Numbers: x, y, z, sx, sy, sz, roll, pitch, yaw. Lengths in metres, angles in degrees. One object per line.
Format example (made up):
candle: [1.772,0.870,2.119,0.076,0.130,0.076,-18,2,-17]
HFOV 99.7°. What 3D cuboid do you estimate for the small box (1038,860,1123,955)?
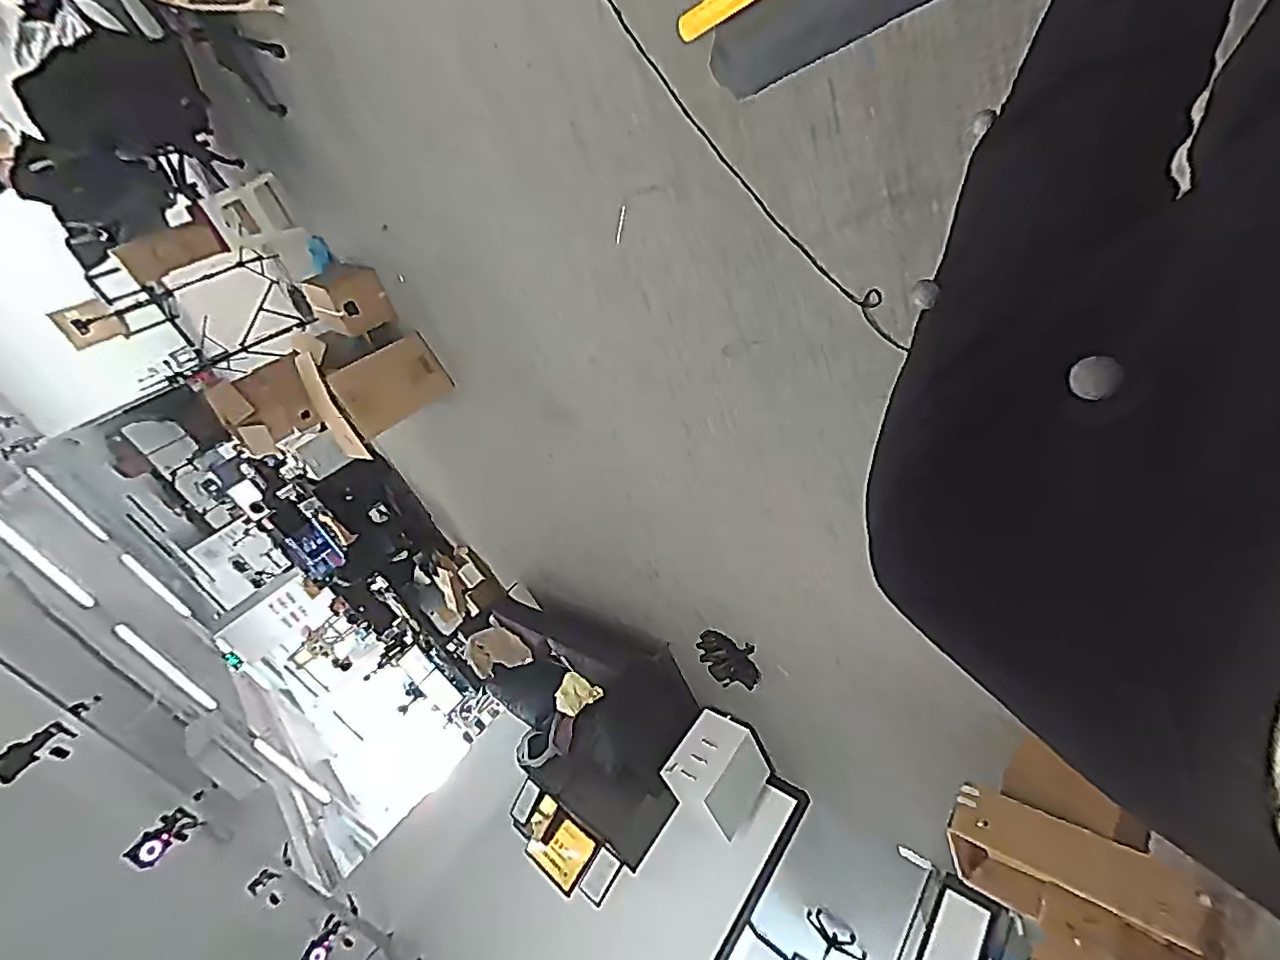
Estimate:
small box: [1.330,1.307,1.634,0.168,0.176,0.179,14,137,41]

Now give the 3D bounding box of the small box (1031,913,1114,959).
small box: [1.231,1.404,1.547,0.168,0.176,0.179,12,135,44]
